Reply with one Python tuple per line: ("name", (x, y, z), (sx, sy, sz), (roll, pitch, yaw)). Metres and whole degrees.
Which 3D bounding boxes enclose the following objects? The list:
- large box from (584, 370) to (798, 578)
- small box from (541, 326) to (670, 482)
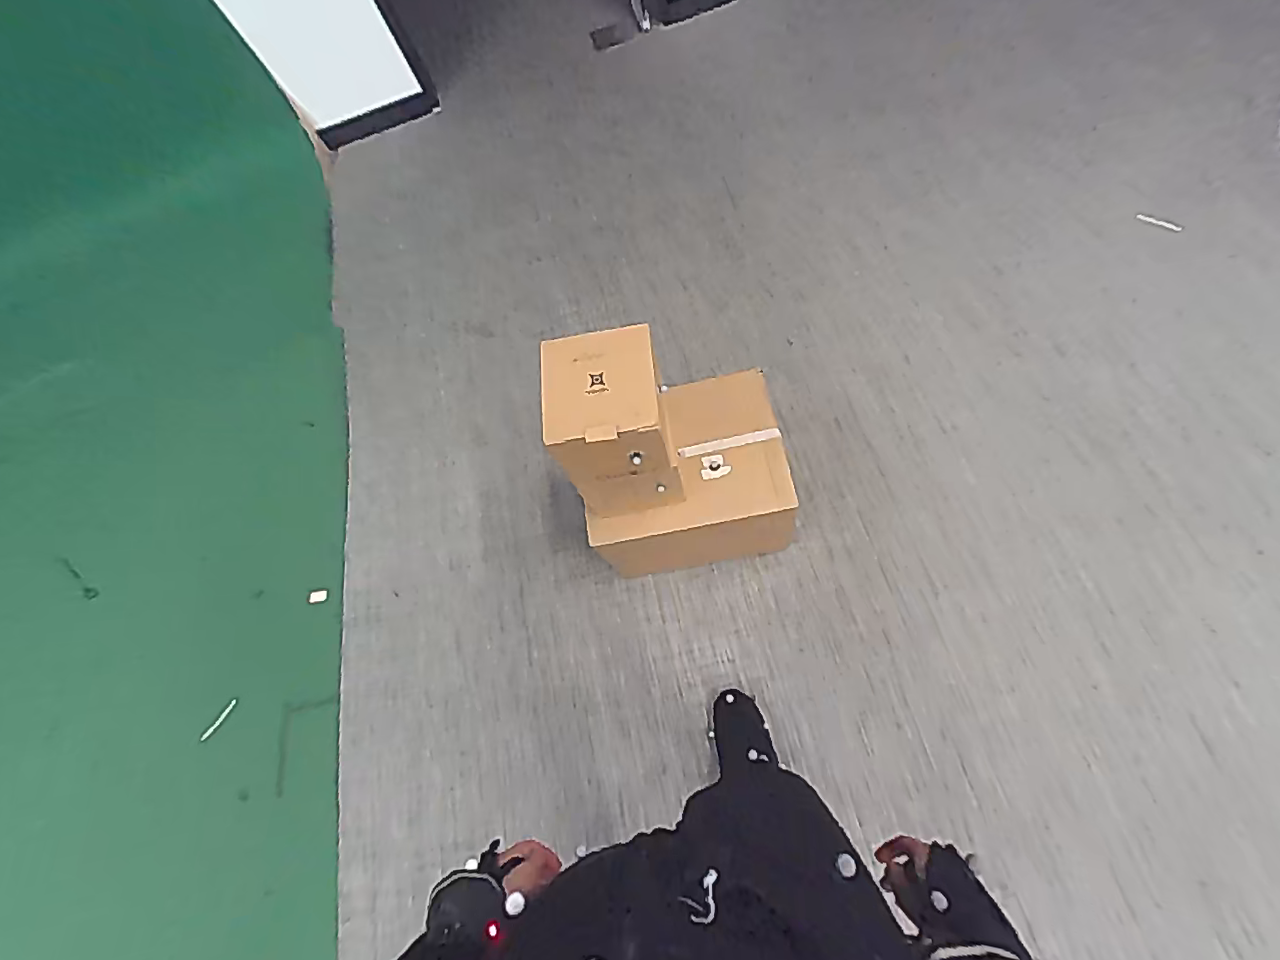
("large box", (0.101, 0.006, 1.210), (0.408, 0.320, 0.320), (-12, 68, 6))
("small box", (-0.049, -0.106, 0.839), (0.168, 0.176, 0.179), (-8, 66, 5))
